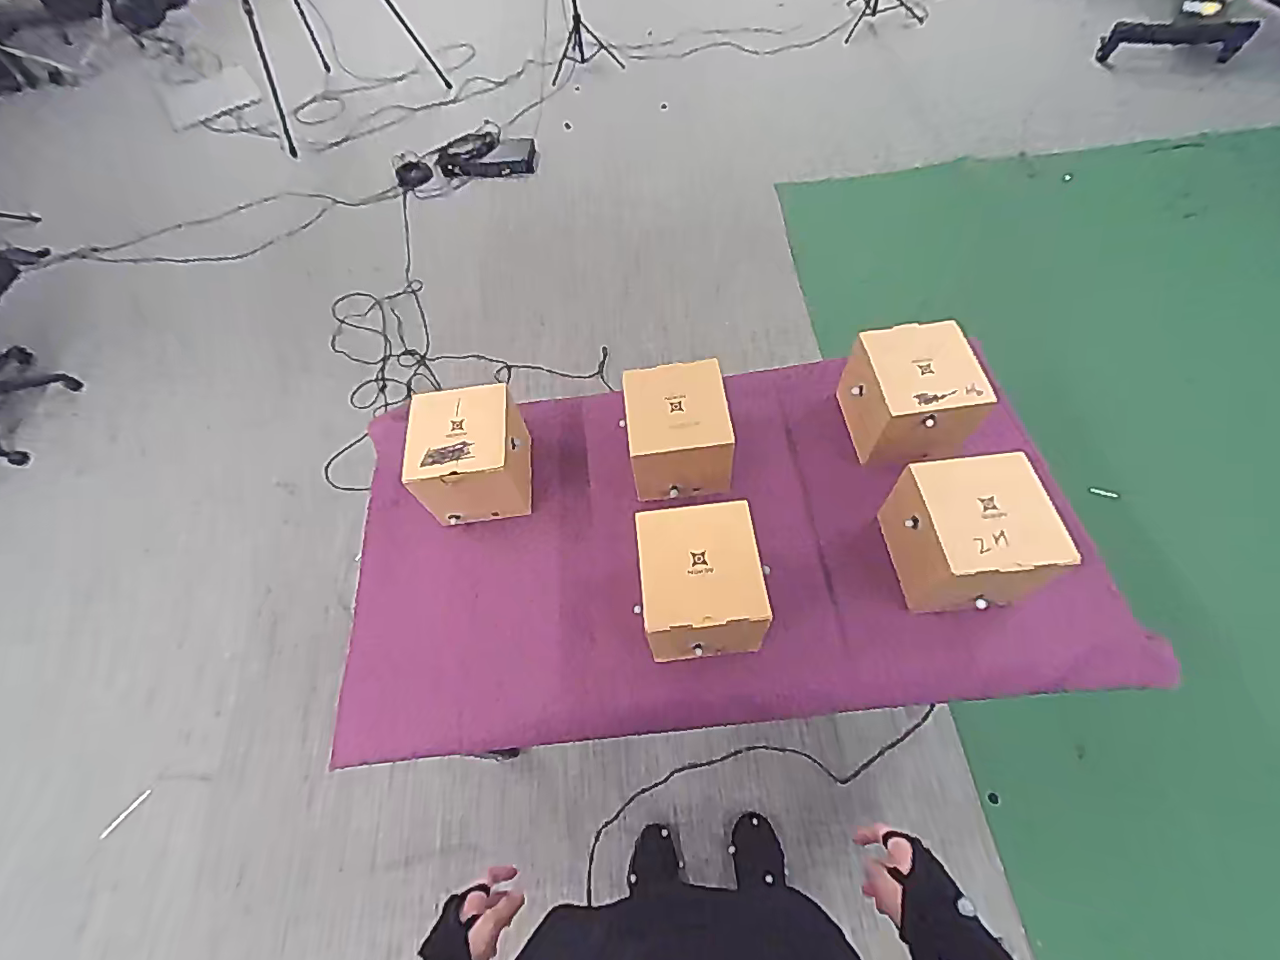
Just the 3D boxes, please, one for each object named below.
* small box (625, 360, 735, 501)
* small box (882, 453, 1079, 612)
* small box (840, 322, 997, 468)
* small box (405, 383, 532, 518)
[{"bbox_3d":[0.067,-0.082,0.946,0.168,0.176,0.179,-7,61,3],"label":"small box"},{"bbox_3d":[0.483,0.082,0.805,0.168,0.176,0.179,-6,59,3],"label":"small box"},{"bbox_3d":[0.464,-0.143,0.939,0.168,0.176,0.179,-7,60,2],"label":"small box"},{"bbox_3d":[-0.290,-0.043,0.955,0.168,0.176,0.179,-7,60,1],"label":"small box"}]
